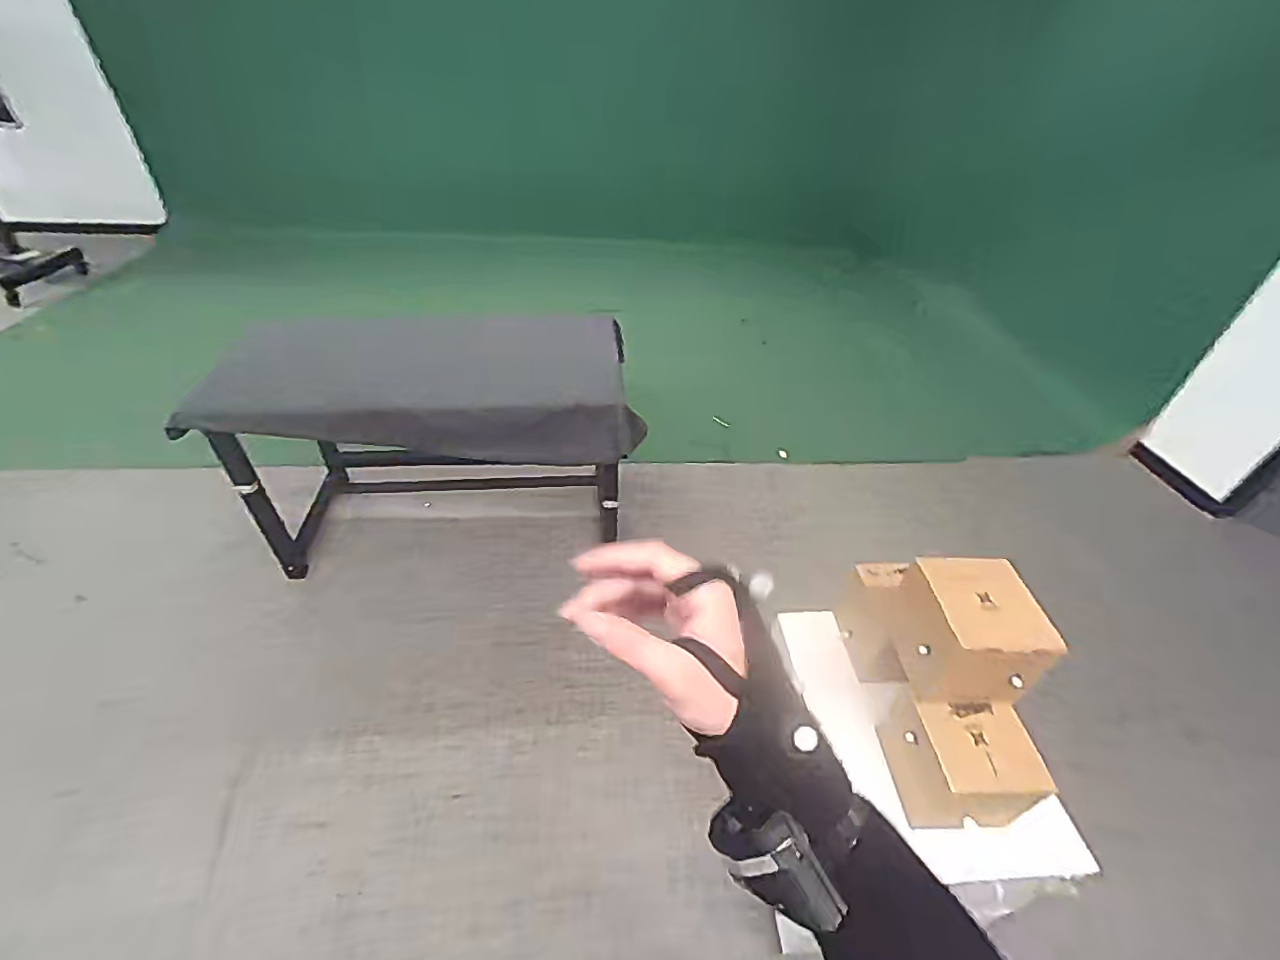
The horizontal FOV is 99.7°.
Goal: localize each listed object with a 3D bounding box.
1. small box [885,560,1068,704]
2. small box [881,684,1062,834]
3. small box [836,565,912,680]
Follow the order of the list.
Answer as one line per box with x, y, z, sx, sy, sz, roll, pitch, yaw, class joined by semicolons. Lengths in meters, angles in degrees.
0.538;0.253;0.896;0.168;0.176;0.179;1;40;-4;small box
0.530;0.462;0.899;0.168;0.176;0.179;1;41;-2;small box
0.523;0.293;1.097;0.168;0.176;0.179;0;43;-5;small box
